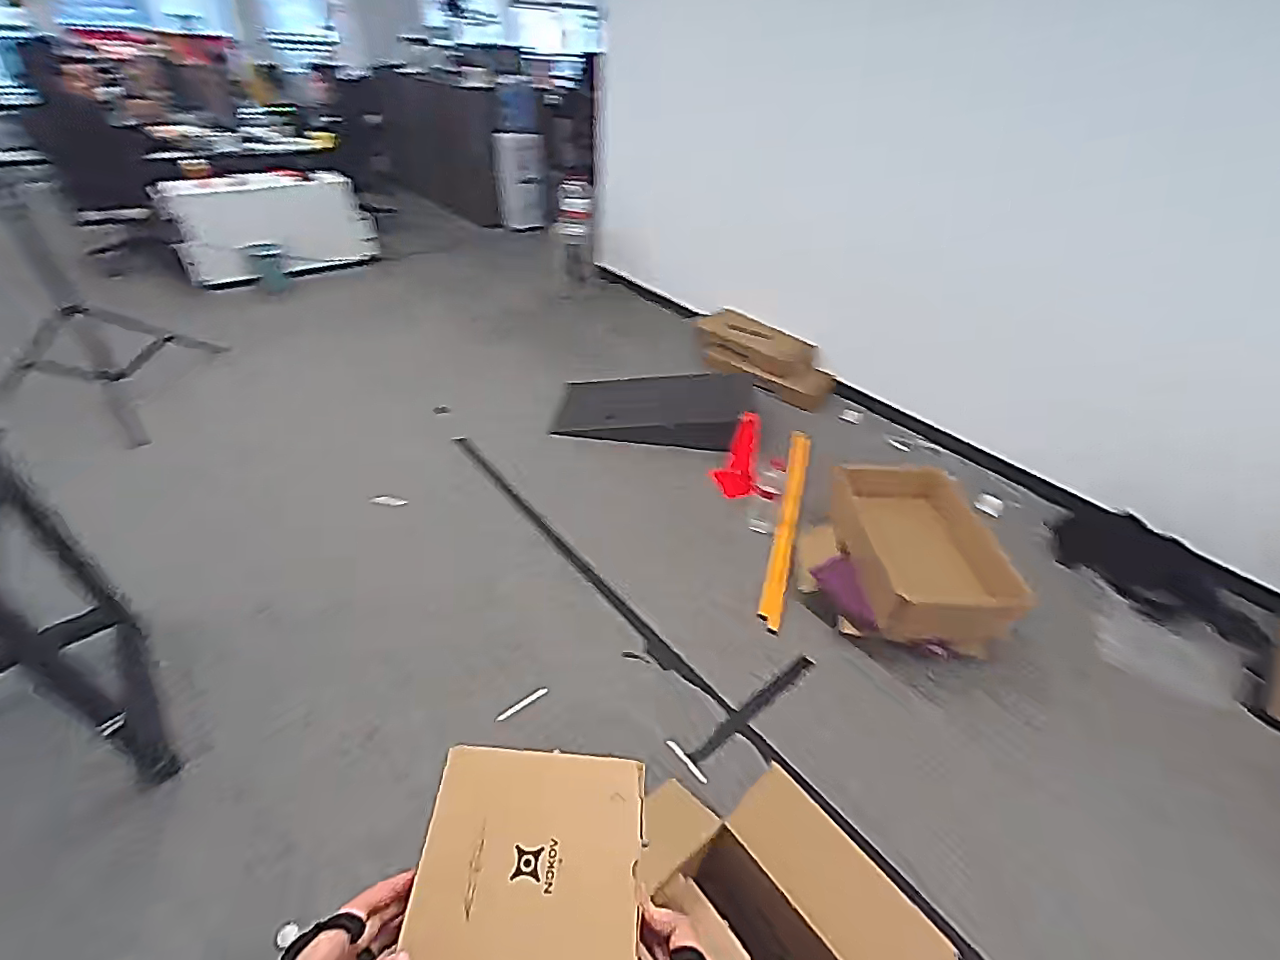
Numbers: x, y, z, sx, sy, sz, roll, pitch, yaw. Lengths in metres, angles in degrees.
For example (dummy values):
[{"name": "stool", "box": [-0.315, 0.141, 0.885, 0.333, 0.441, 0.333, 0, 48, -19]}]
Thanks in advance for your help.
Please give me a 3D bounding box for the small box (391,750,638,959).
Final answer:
[{"name": "small box", "box": [-0.097, 0.359, 0.482, 0.179, 0.176, 0.168, 4, 44, -4]}]
